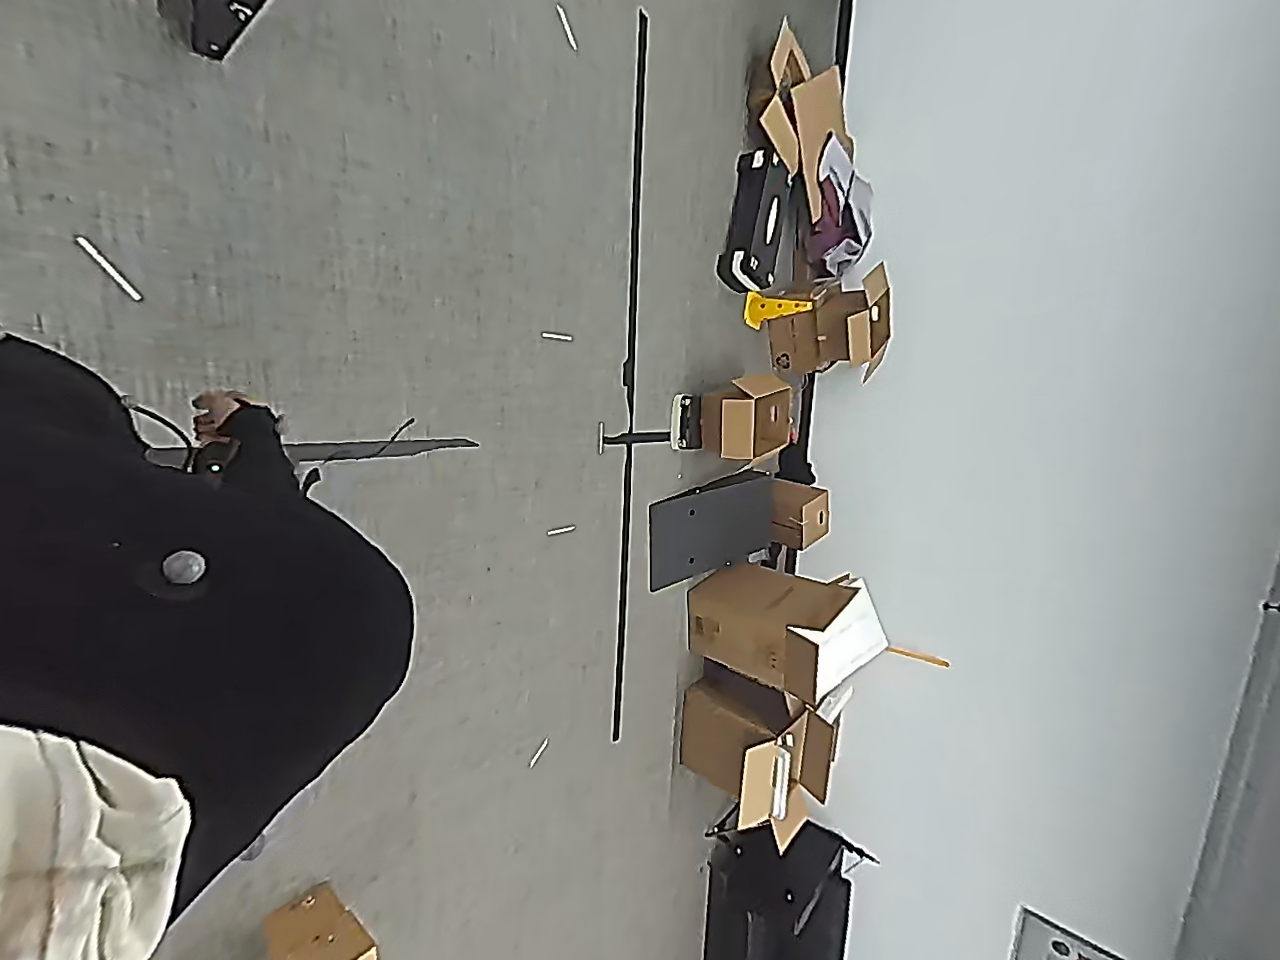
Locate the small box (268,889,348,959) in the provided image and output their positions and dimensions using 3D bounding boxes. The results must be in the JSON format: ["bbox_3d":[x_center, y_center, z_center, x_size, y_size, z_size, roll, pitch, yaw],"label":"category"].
[{"bbox_3d":[-0.997,1.398,1.627,0.168,0.176,0.179,-7,103,-51],"label":"small box"}]

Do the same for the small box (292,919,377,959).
[{"bbox_3d":[-0.865,1.416,1.530,0.168,0.176,0.179,-7,103,-52],"label":"small box"}]
